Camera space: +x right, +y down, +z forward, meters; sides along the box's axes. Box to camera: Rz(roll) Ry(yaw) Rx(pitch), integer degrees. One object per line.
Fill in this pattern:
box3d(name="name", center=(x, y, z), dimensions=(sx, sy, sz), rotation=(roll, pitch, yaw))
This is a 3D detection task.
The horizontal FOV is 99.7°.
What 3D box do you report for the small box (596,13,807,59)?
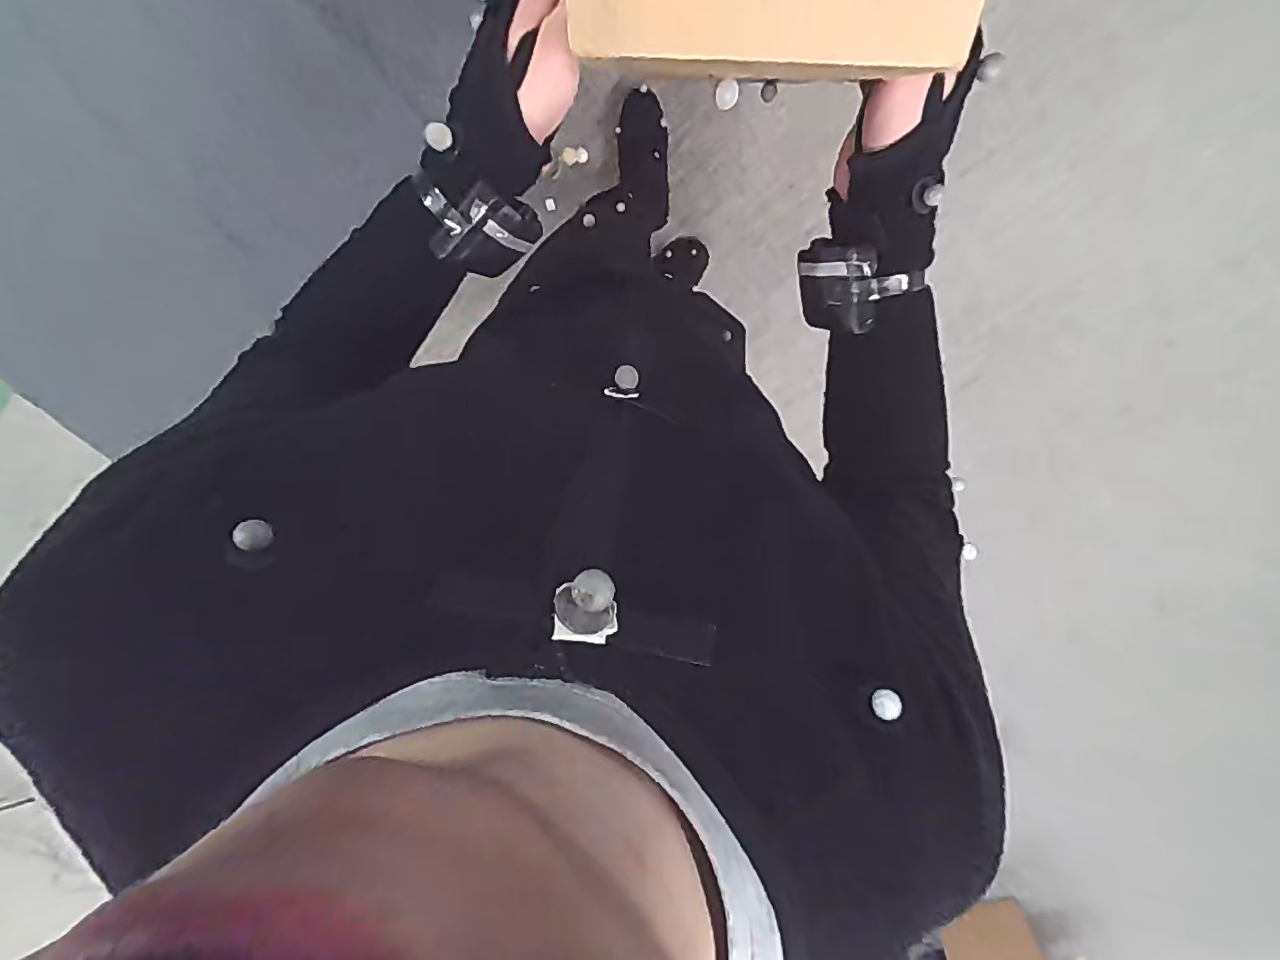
box3d(name="small box", center=(0.063, -0.390, 0.350), dimensions=(0.168, 0.176, 0.179), rotation=(3, 124, 1))
